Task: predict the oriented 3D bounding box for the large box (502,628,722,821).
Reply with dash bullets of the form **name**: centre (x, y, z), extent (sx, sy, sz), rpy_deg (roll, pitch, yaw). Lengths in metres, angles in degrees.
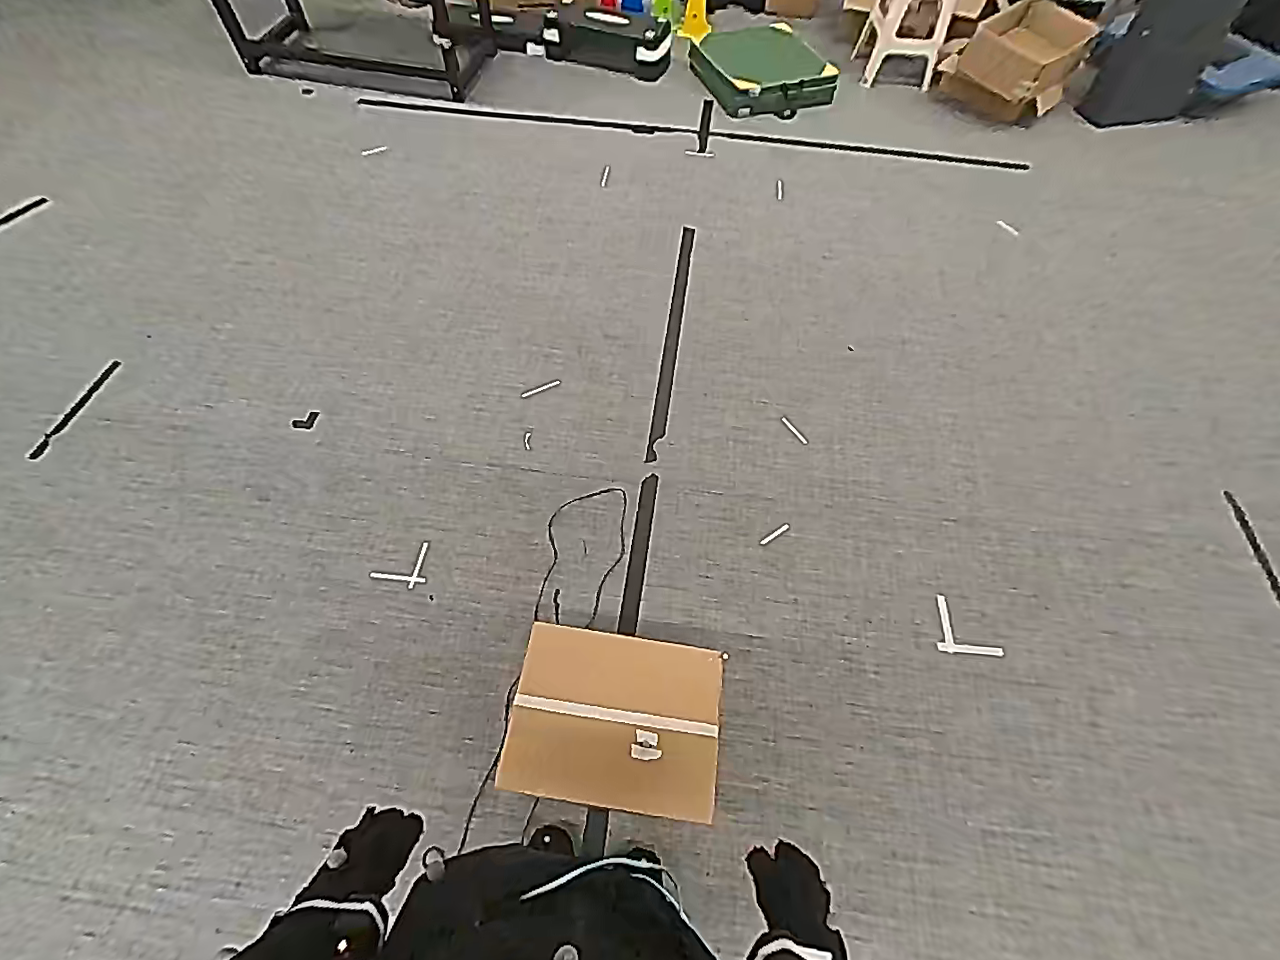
- **large box**: centre (-0.052, 0.546, 1.192), extent (0.408, 0.320, 0.320), rpy_deg (9, 59, 1)
